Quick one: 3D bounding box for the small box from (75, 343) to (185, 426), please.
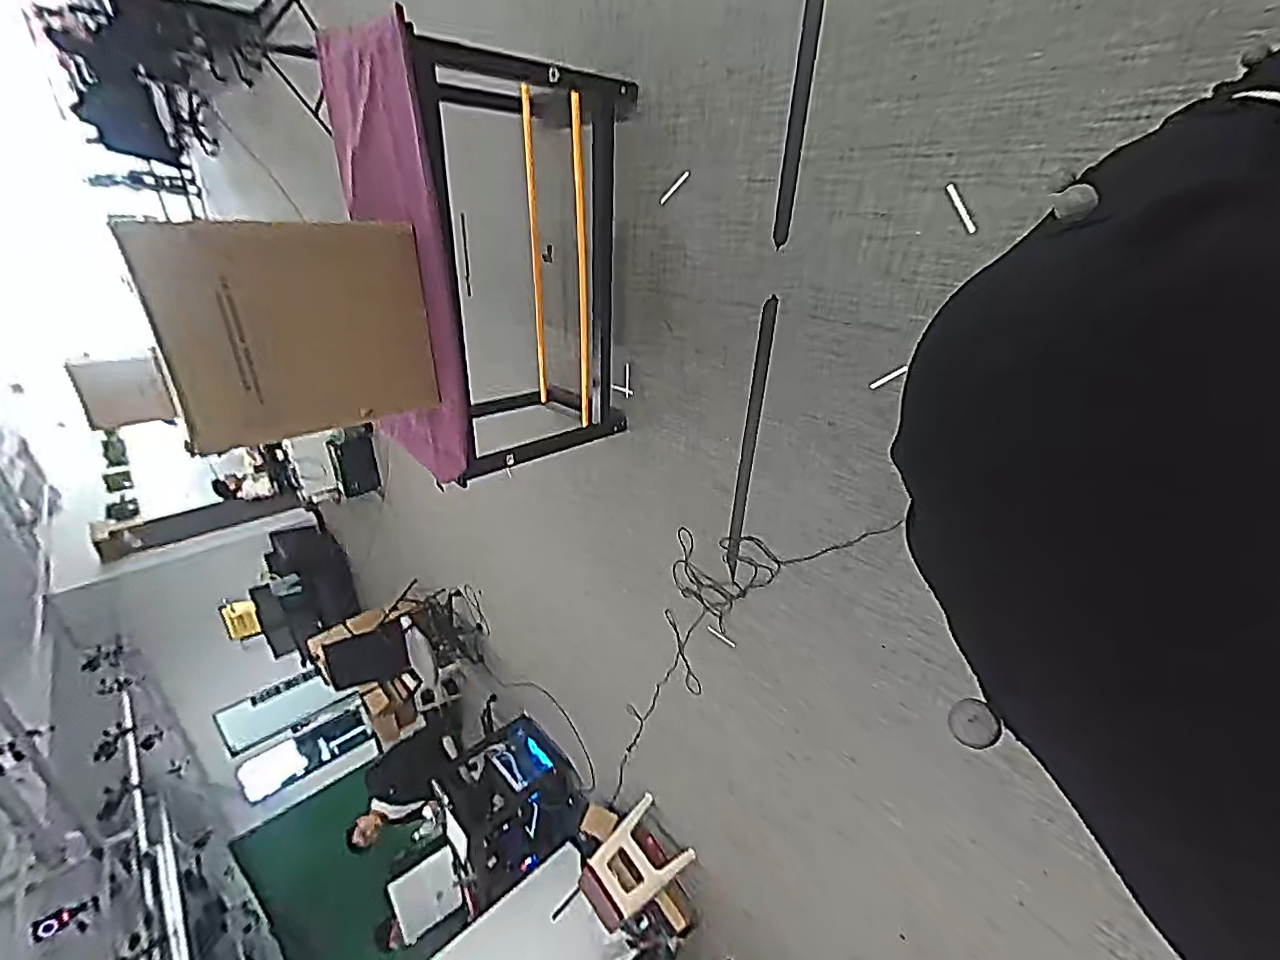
[{"bbox_3d":[-1.306,-0.254,1.393,0.179,0.176,0.168,25,125,41],"label":"small box"}]
